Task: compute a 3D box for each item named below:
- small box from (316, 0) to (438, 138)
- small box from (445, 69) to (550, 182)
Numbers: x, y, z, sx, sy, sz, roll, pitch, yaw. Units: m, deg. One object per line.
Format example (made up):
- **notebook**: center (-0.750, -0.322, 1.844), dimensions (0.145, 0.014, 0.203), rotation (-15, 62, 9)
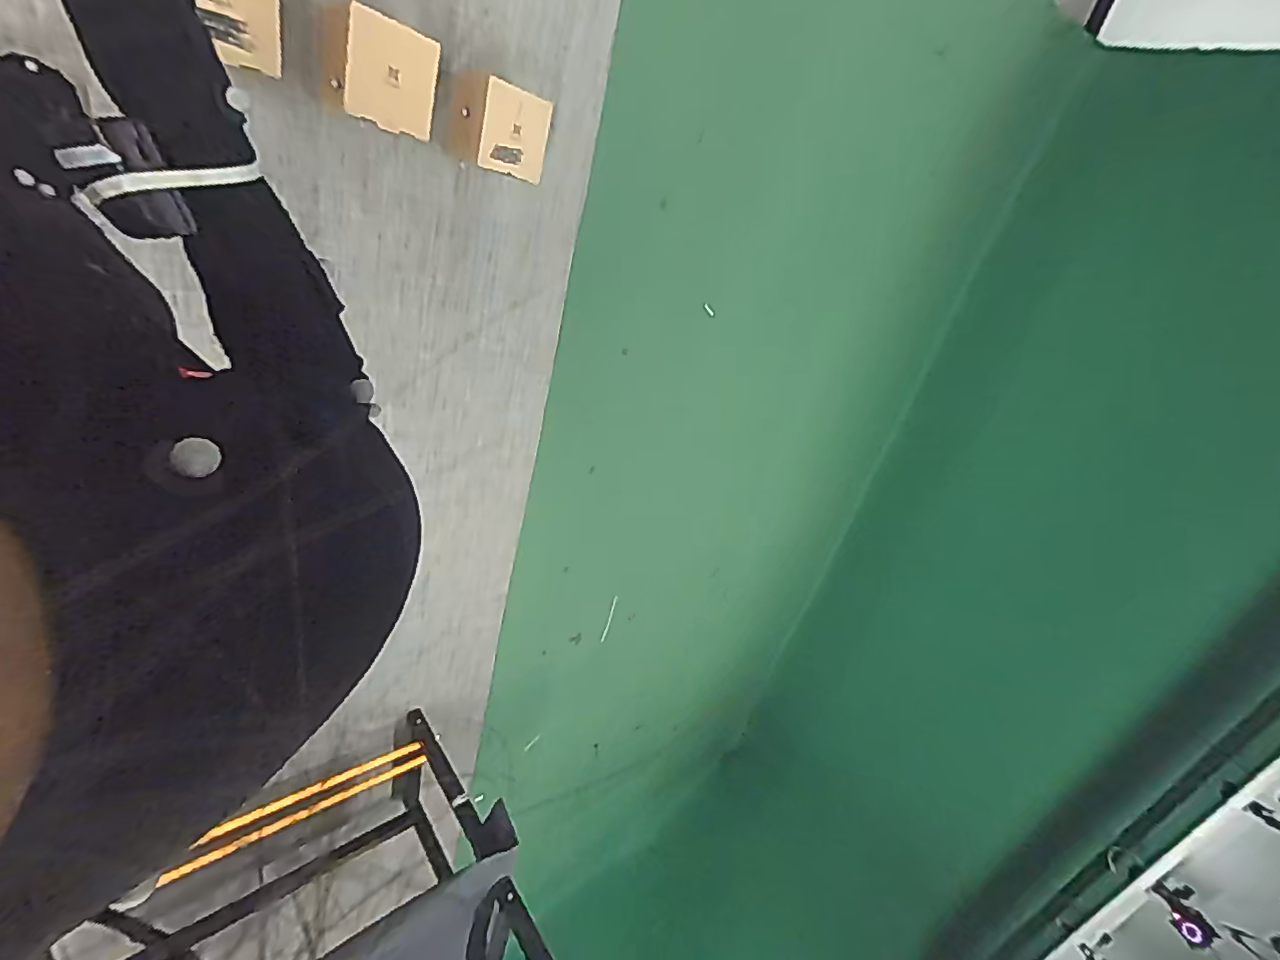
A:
- **small box**: center (-0.527, -0.815, 1.076), dimensions (0.168, 0.176, 0.179), rotation (-7, 125, -45)
- **small box**: center (-0.340, -0.829, 1.268), dimensions (0.168, 0.176, 0.179), rotation (-7, 124, -44)
